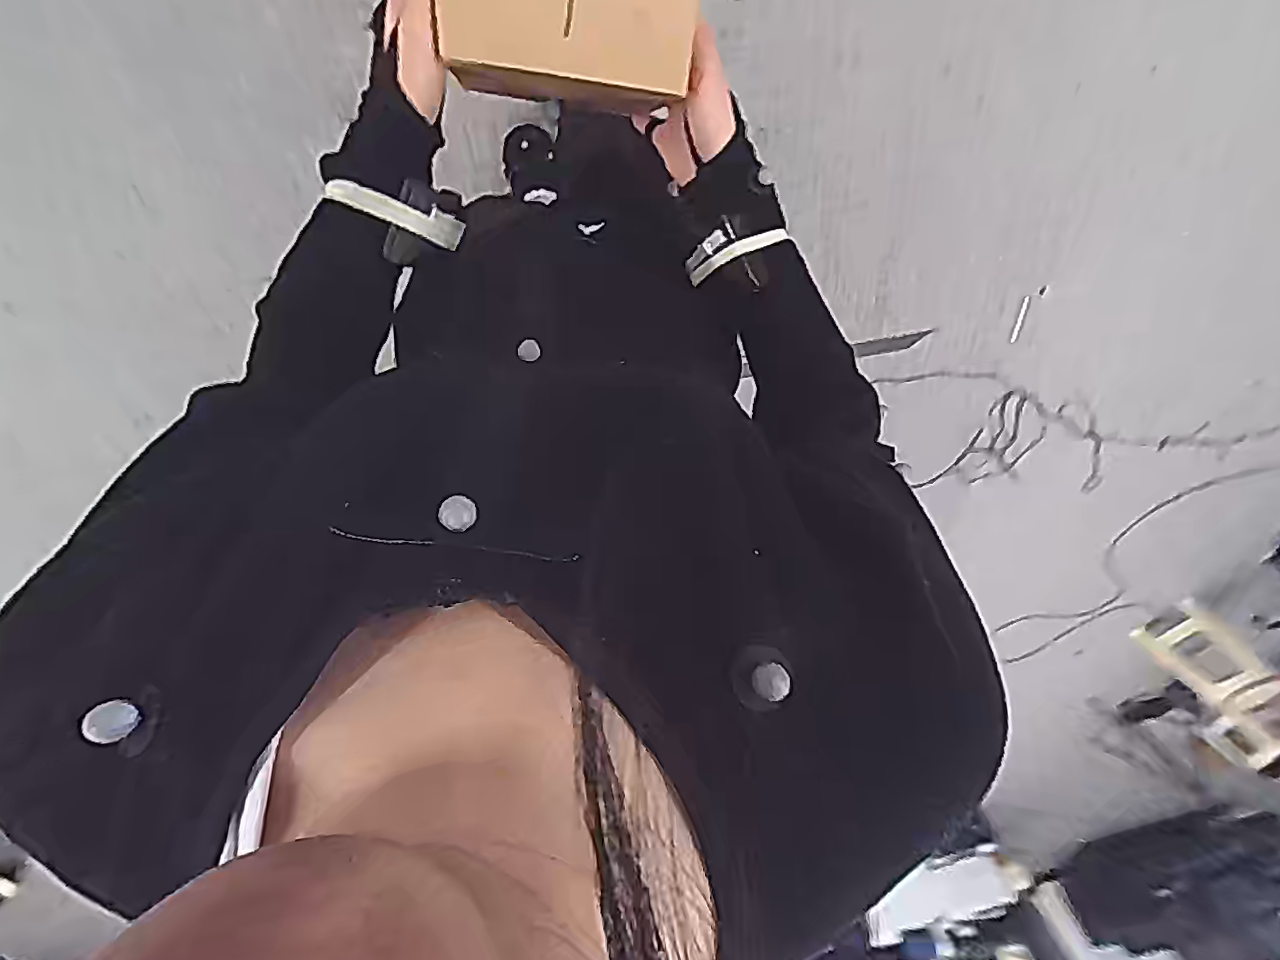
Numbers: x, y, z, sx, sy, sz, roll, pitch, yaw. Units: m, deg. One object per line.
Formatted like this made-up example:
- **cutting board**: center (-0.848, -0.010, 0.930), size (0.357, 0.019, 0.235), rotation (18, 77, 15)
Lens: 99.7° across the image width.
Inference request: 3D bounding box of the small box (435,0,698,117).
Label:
- **small box**: center (-0.053, -0.380, 0.385), size (0.168, 0.176, 0.179), rotation (0, 119, -12)
